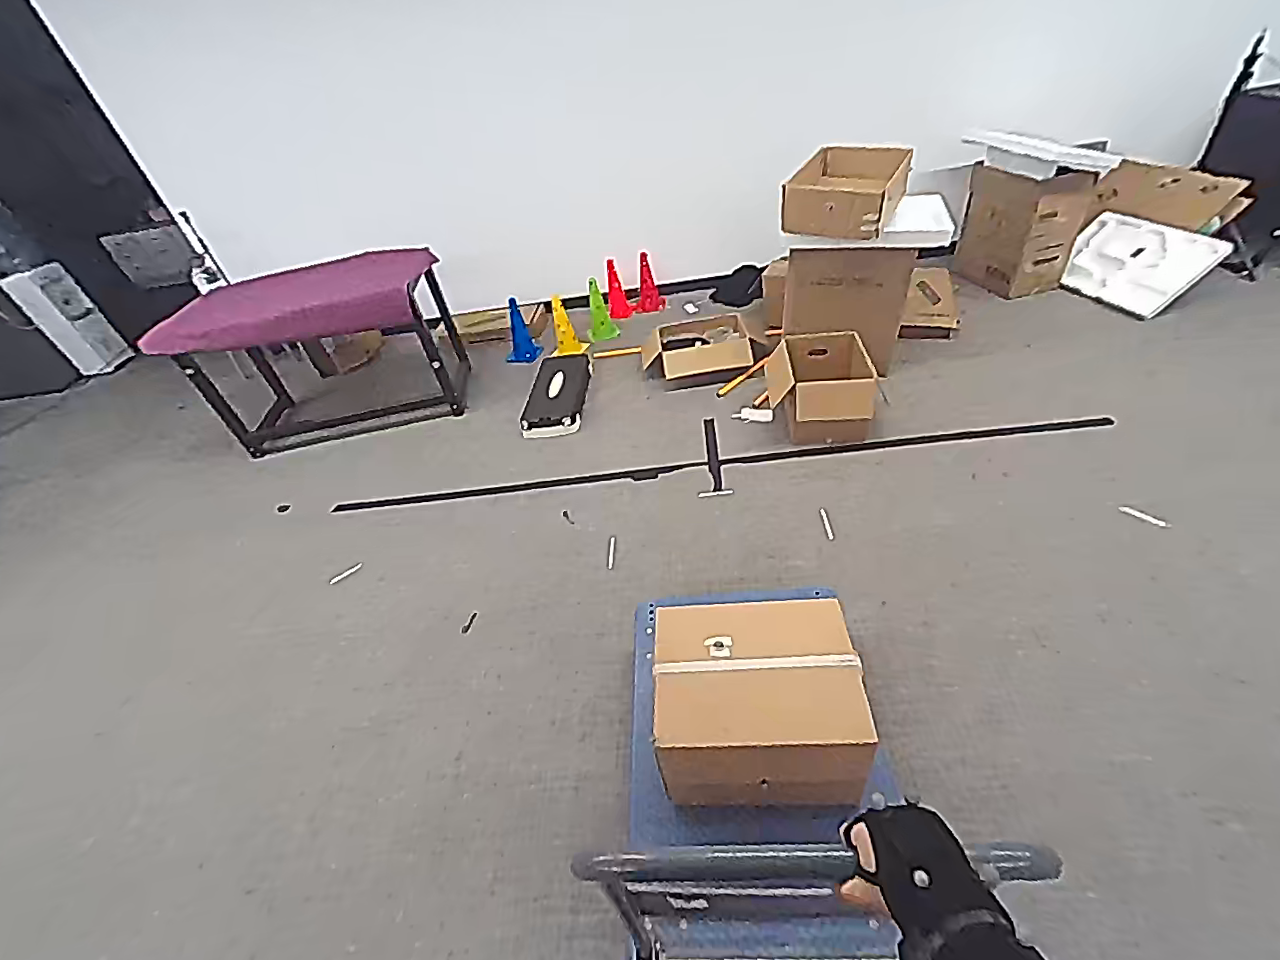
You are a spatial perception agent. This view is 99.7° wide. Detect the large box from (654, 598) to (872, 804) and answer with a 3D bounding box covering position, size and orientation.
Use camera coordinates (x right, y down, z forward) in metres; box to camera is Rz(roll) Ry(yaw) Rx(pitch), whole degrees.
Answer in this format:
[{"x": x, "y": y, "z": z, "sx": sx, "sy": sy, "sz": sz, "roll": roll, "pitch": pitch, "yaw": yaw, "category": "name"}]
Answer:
[{"x": 0.254, "y": 0.497, "z": 1.206, "sx": 0.408, "sy": 0.320, "sz": 0.320, "roll": -7, "pitch": 40, "yaw": 7, "category": "large box"}]
